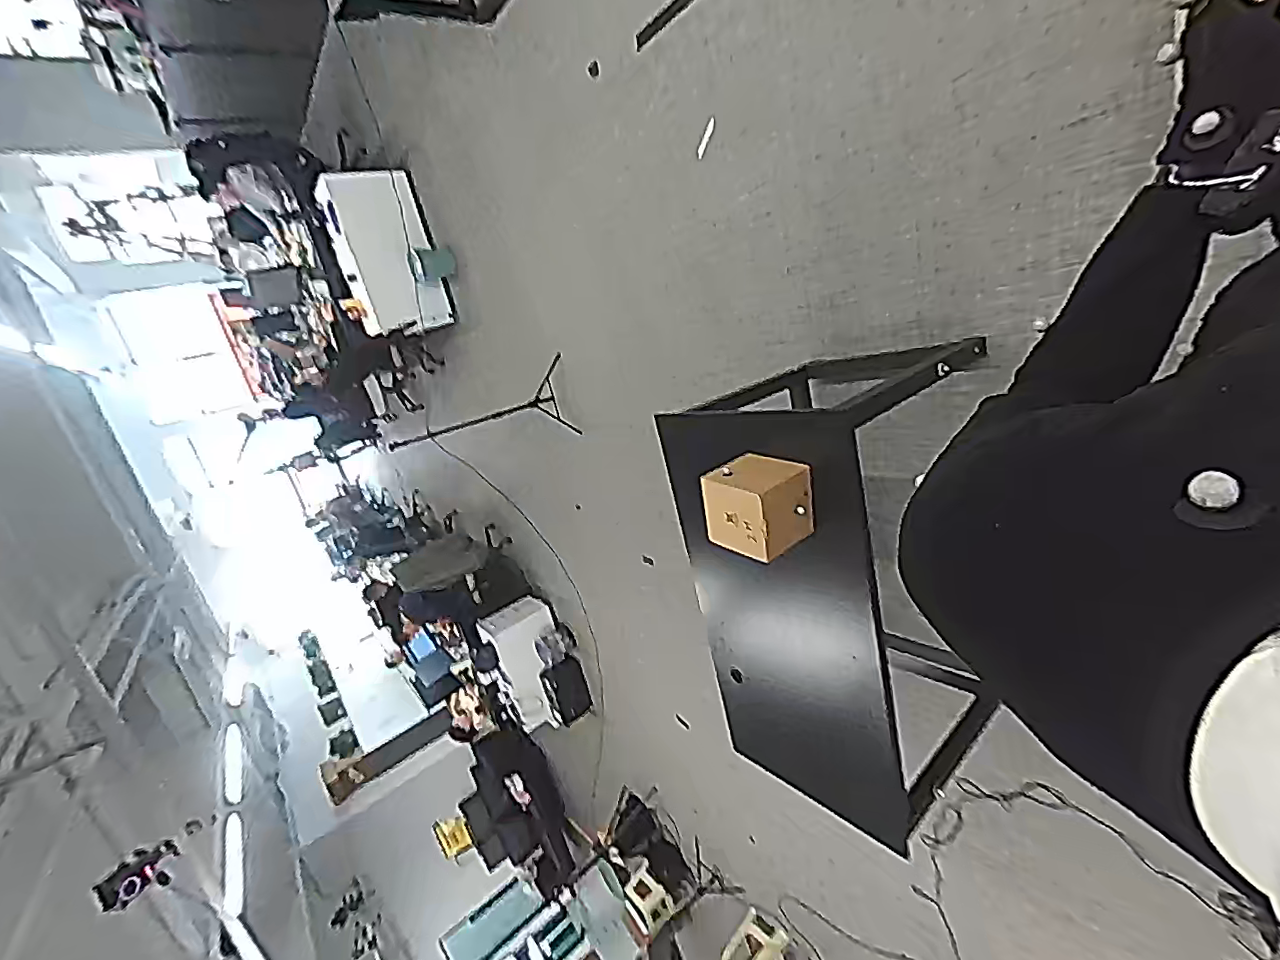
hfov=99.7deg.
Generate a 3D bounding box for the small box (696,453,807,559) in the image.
[{"bbox_3d":[0.254,0.050,1.223,0.179,0.176,0.168,18,126,49],"label":"small box"}]
